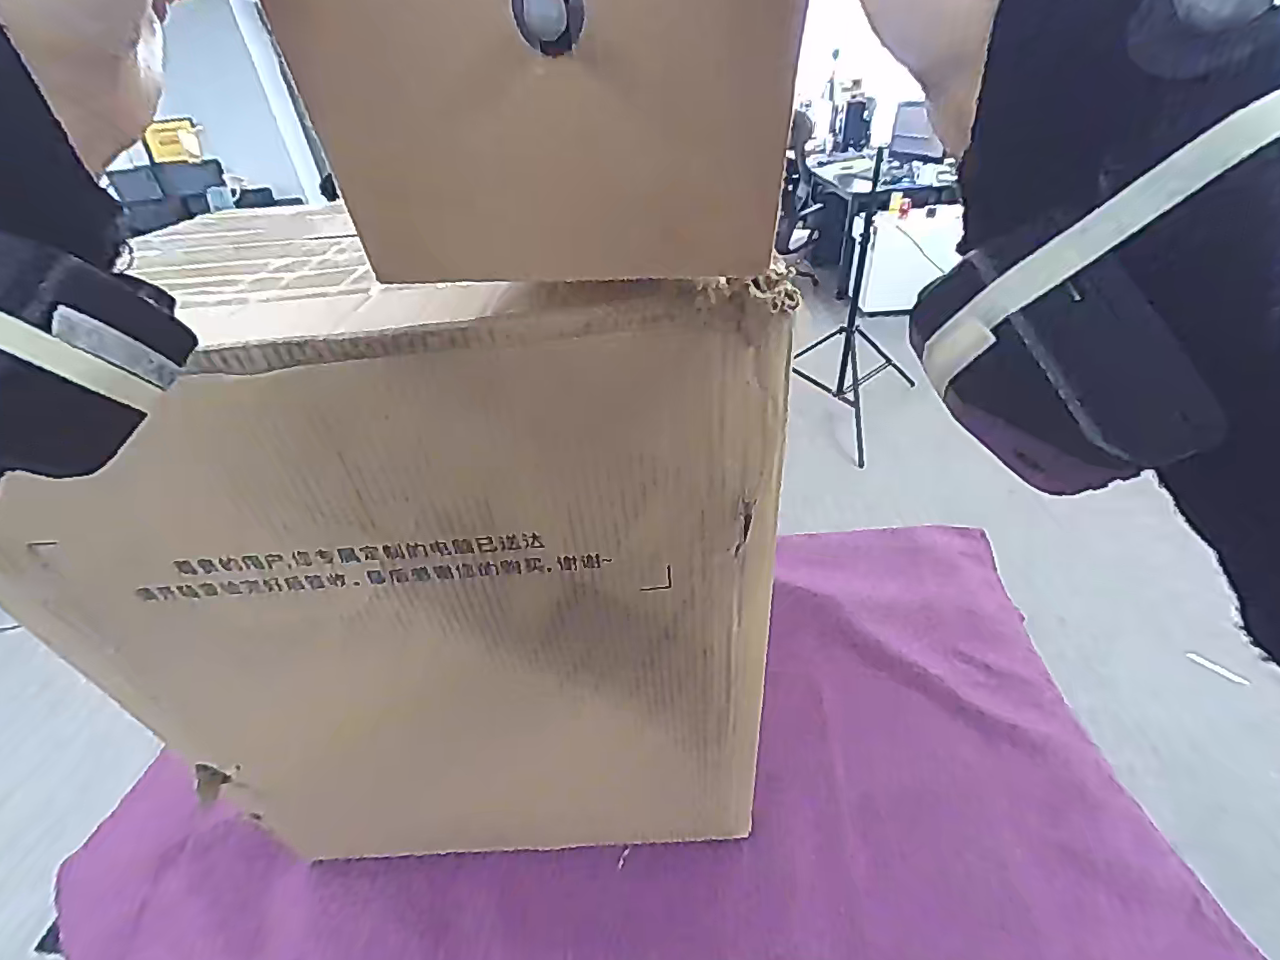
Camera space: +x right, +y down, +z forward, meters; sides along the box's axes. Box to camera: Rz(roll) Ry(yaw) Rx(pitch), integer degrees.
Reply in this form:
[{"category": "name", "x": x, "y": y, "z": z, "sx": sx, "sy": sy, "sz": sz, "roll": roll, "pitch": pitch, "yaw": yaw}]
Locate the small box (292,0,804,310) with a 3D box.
[{"category": "small box", "x": -0.028, "y": -0.193, "z": 0.231, "sx": 0.168, "sy": 0.176, "sz": 0.179, "roll": 0, "pitch": 47, "yaw": 2}]
